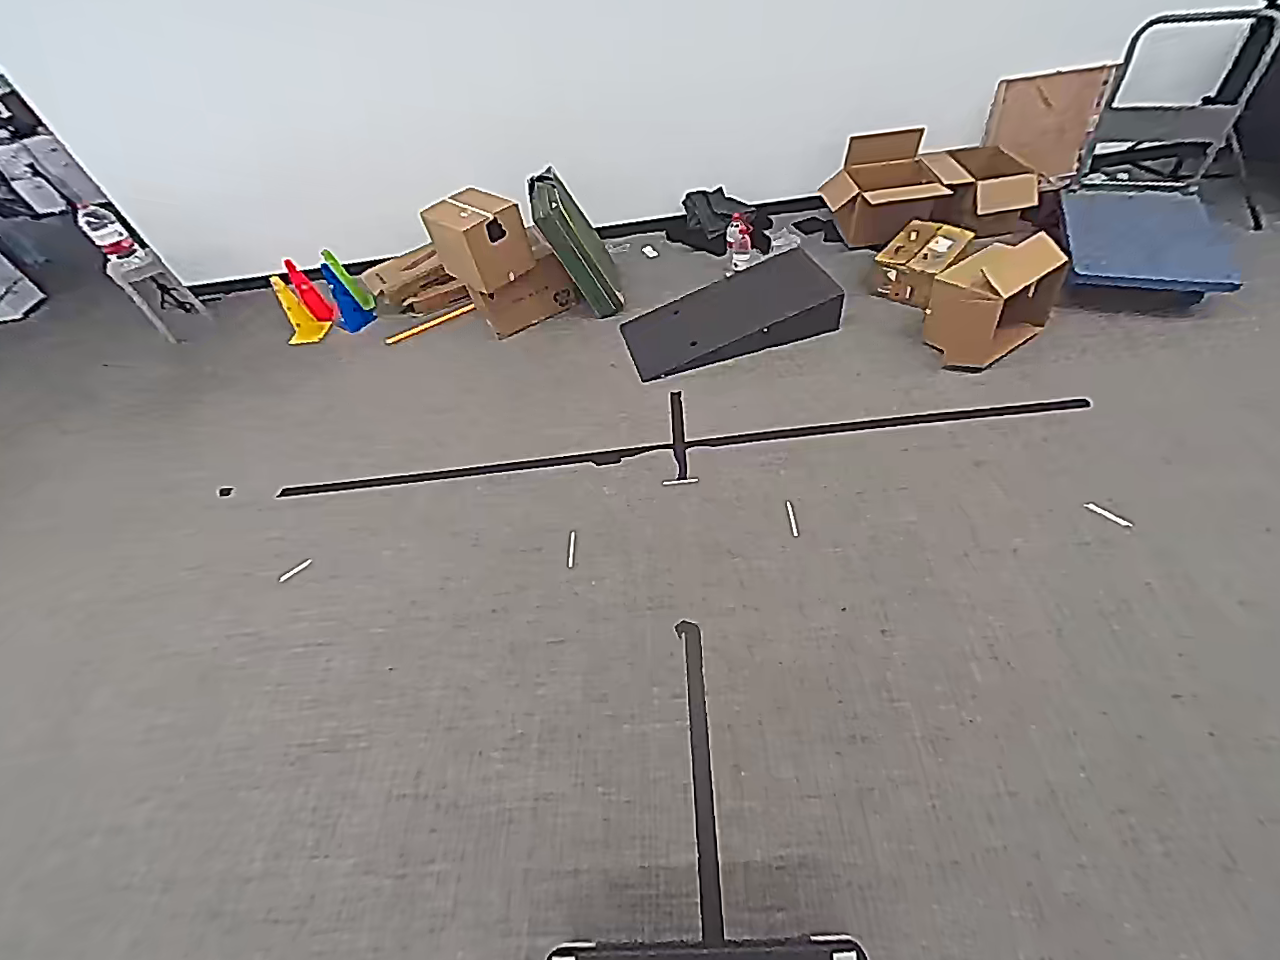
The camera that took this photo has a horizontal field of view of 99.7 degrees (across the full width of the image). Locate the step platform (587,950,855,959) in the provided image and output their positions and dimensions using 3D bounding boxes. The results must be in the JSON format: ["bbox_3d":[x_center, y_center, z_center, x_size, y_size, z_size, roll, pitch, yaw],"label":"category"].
[{"bbox_3d":[0.127,1.119,1.055,0.684,0.204,0.286,-6,50,4],"label":"step platform"}]
